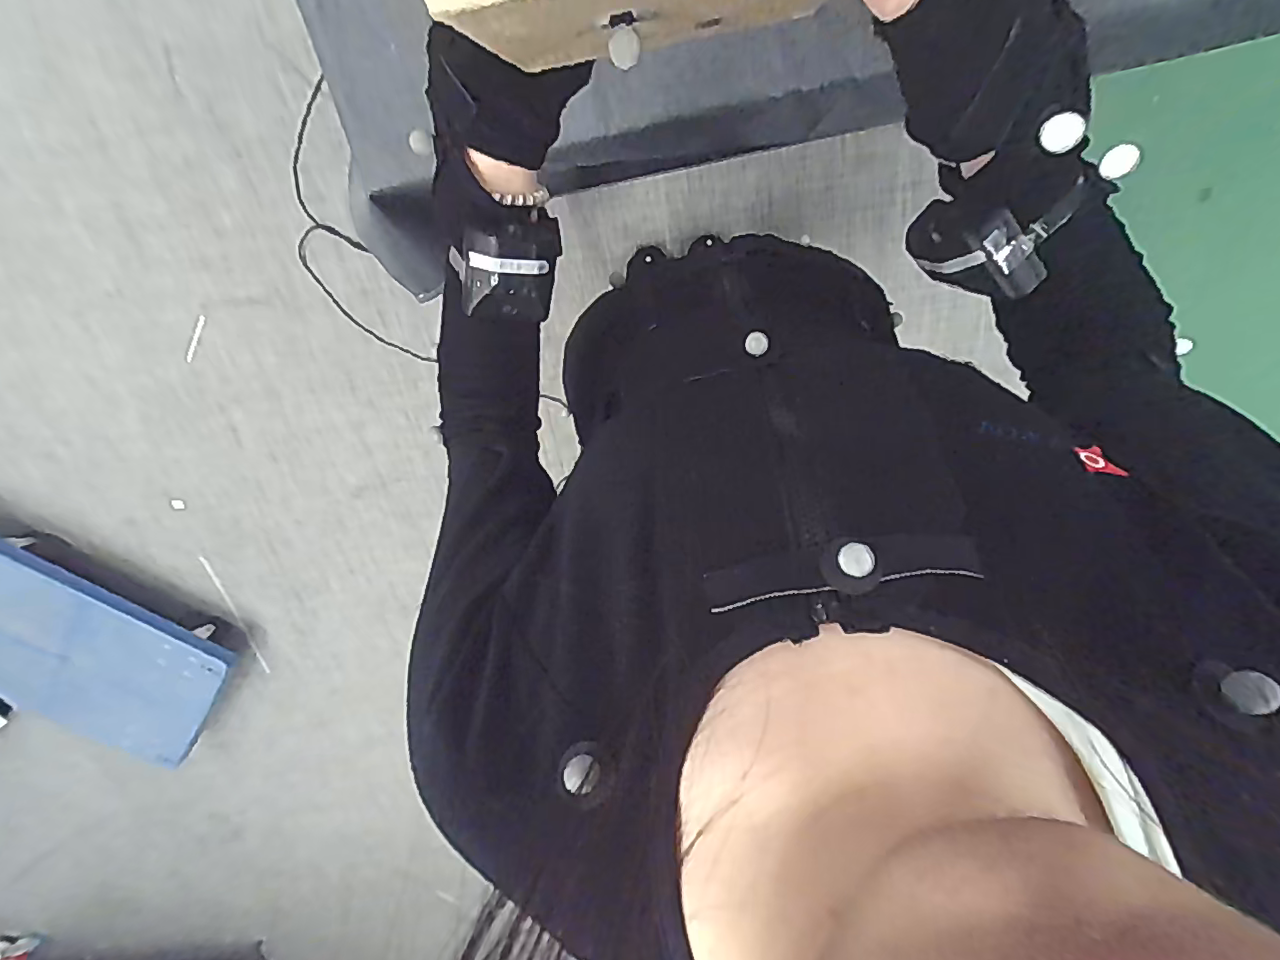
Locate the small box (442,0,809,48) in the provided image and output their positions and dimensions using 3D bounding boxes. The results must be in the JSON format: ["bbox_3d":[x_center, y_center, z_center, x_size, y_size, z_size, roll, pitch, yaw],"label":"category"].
[{"bbox_3d":[0.004,-0.278,0.190,0.168,0.176,0.179,-7,121,5],"label":"small box"}]
